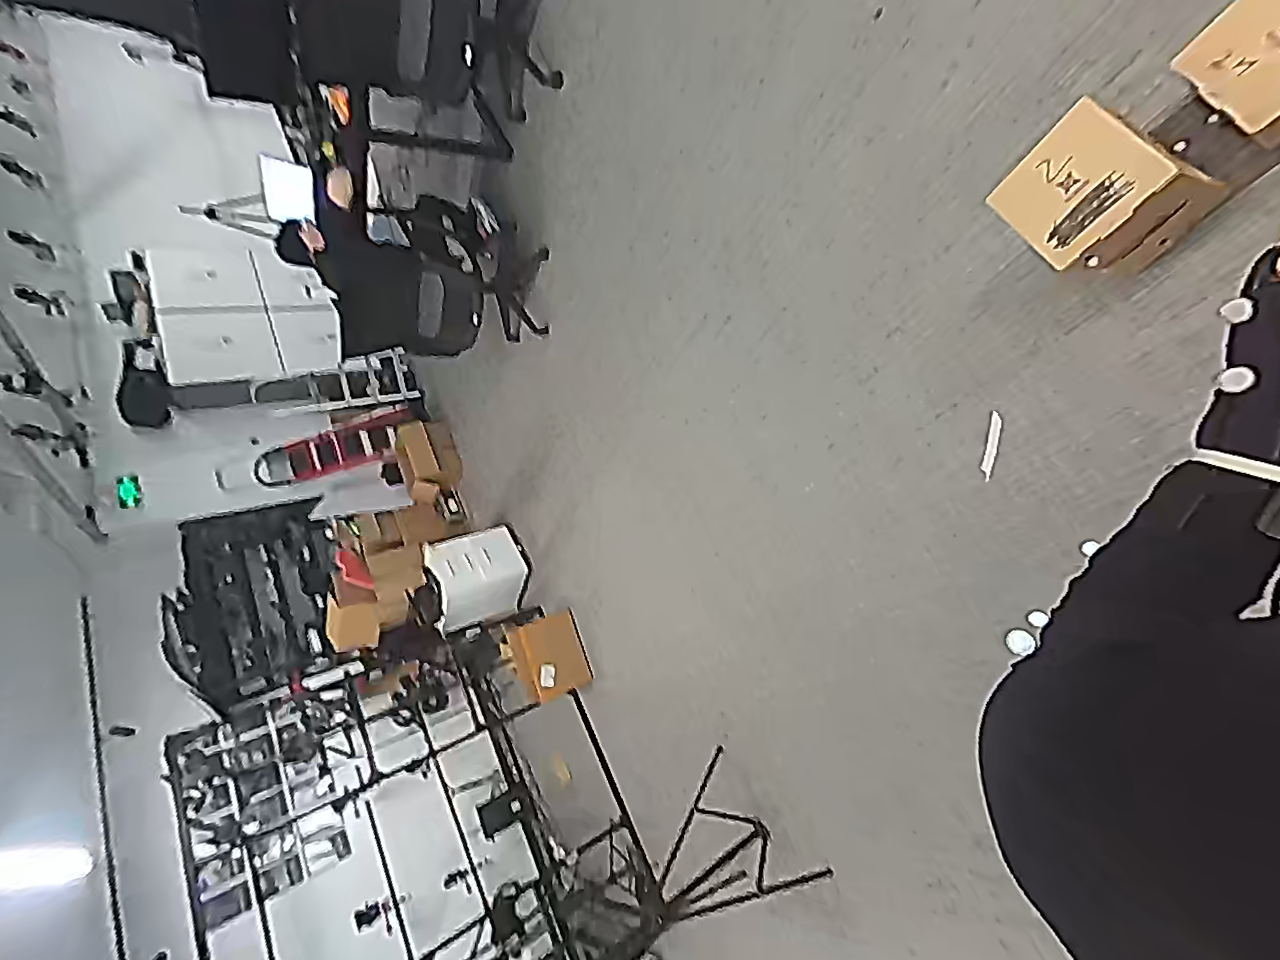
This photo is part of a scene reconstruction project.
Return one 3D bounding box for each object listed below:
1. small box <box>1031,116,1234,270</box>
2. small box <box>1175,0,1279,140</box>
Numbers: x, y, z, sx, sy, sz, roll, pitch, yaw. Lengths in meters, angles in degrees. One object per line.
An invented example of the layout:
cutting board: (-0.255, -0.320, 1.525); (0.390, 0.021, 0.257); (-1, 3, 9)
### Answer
small box: (0.831, -0.477, 0.919); (0.179, 0.176, 0.168); (58, 143, 24)
small box: (0.912, -0.608, 0.742); (0.168, 0.176, 0.179); (64, 146, 18)
